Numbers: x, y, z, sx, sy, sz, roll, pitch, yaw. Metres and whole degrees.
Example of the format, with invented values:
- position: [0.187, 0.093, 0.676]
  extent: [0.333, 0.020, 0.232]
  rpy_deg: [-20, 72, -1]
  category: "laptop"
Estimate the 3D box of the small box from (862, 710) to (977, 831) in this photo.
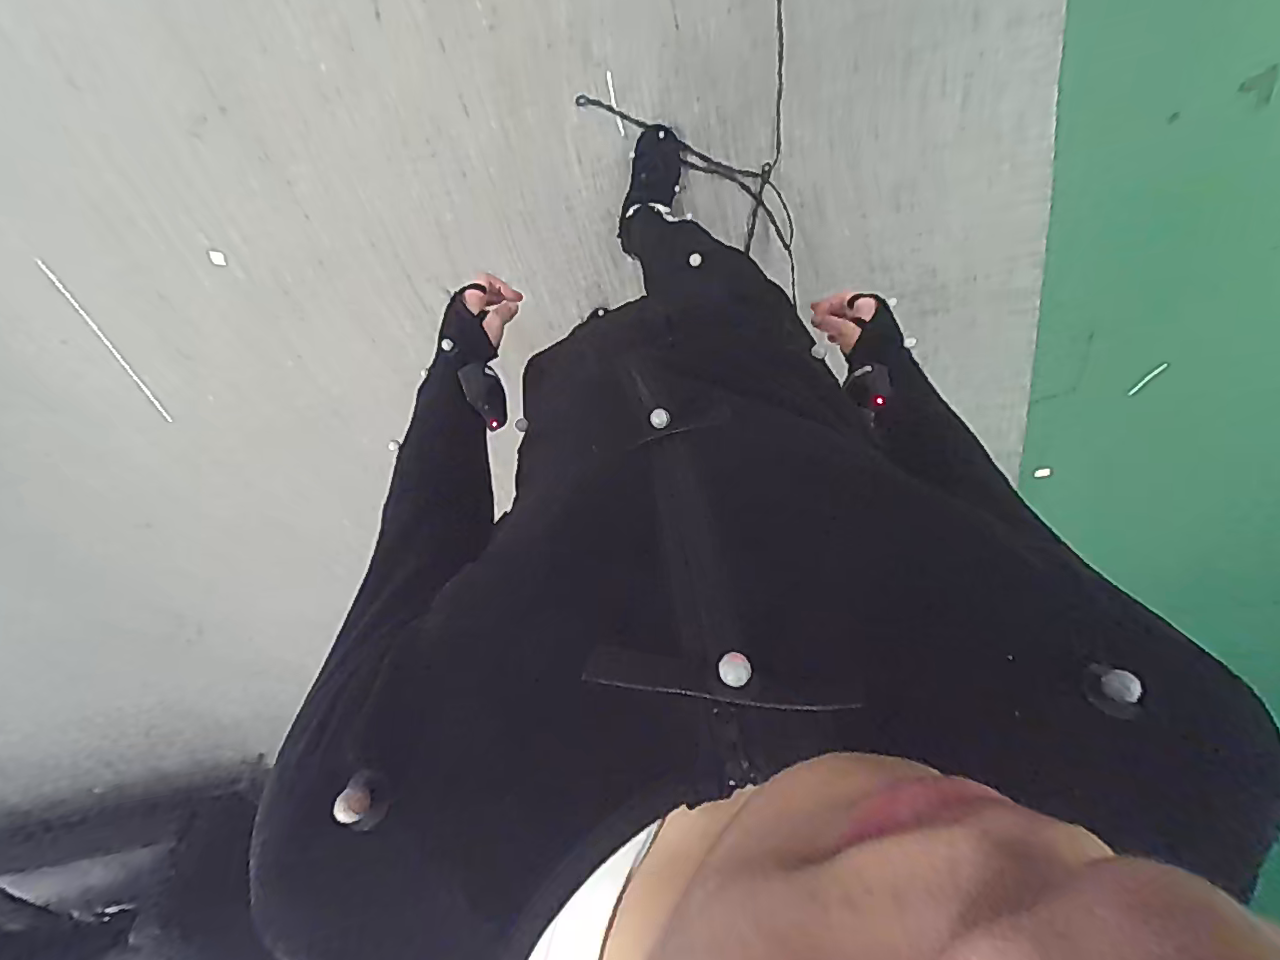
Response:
- position: [0.600, 0.635, 1.187]
  extent: [0.168, 0.176, 0.179]
  rpy_deg: [-9, 121, 4]
  category: "small box"

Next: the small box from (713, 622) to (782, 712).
- position: [0.301, 0.524, 1.503]
  extent: [0.168, 0.176, 0.179]
  rpy_deg: [-9, 120, 6]
  category: "small box"

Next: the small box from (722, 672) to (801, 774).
- position: [0.301, 0.601, 1.358]
  extent: [0.168, 0.176, 0.179]
  rpy_deg: [-8, 120, 6]
  category: "small box"
